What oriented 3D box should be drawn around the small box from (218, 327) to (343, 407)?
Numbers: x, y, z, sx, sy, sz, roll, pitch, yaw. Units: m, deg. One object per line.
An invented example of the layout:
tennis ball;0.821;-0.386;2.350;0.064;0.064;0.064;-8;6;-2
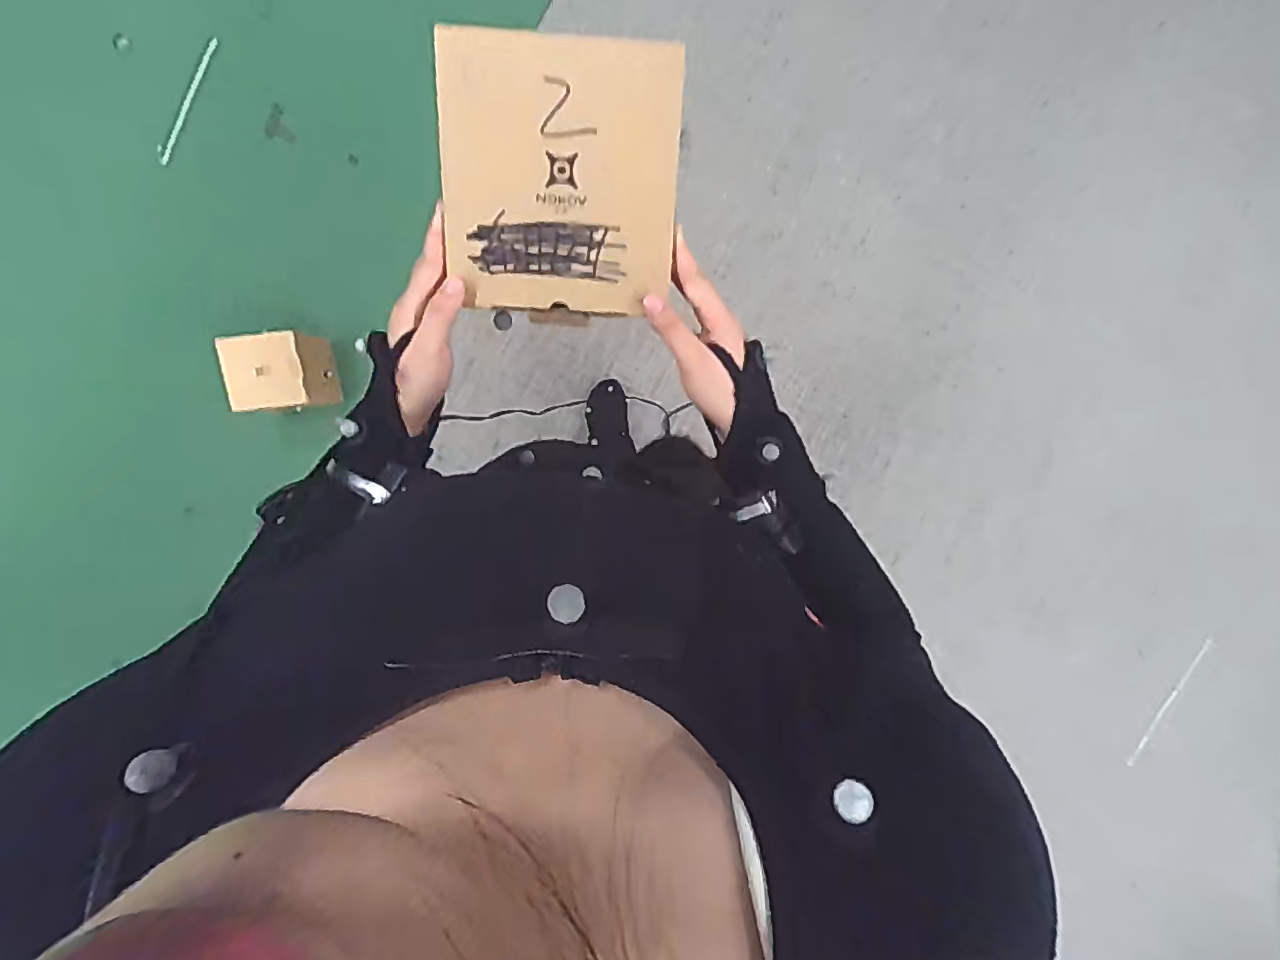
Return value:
small box;-0.860;-0.266;1.308;0.179;0.176;0.168;-8;99;-3
